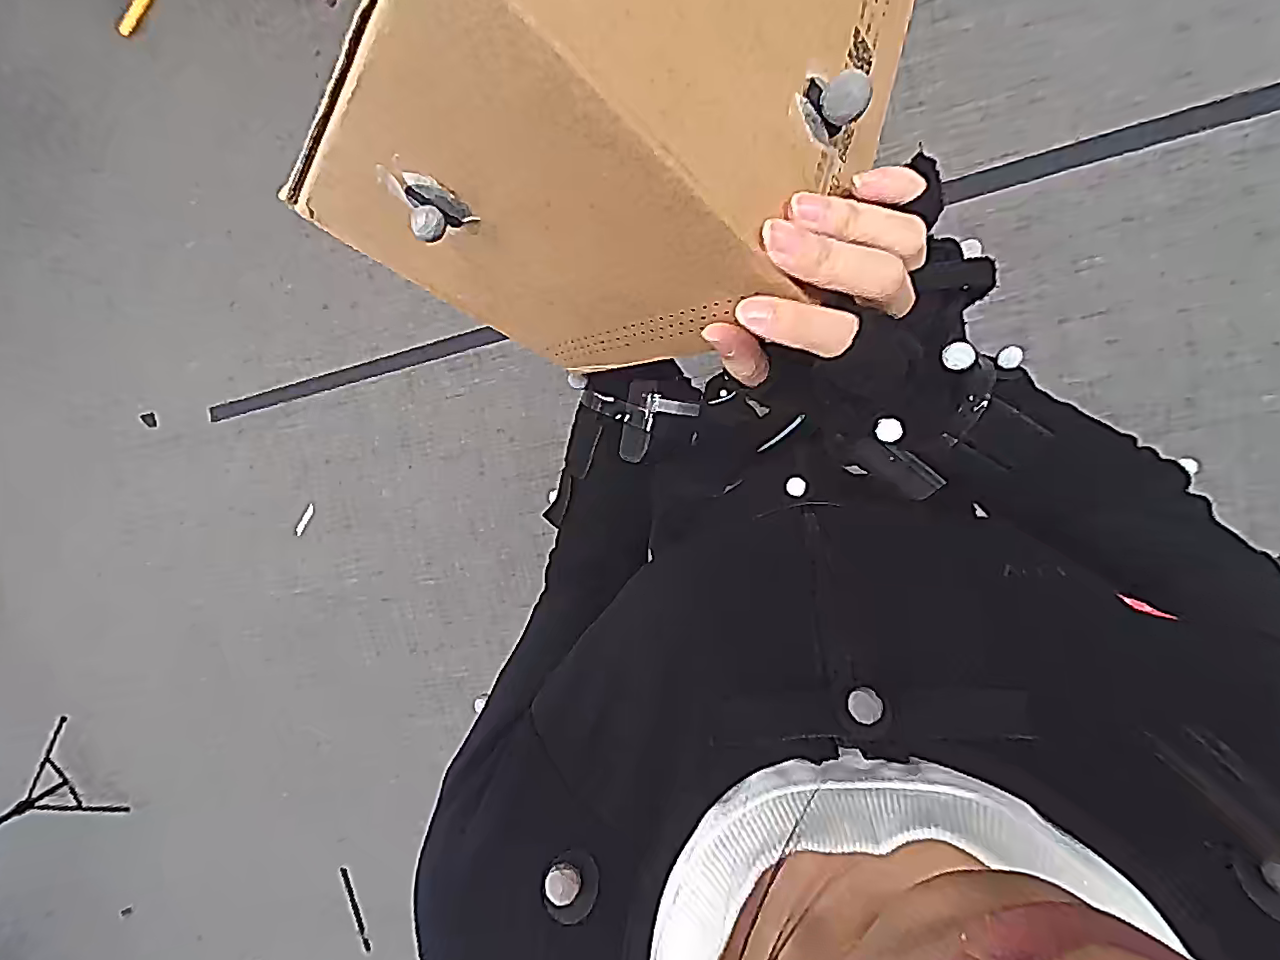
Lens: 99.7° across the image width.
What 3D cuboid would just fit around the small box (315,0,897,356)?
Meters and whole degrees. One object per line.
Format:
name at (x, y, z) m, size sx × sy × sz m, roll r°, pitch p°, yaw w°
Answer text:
small box at (-0.015, -0.172, 0.250) m, size 0.179 × 0.176 × 0.168 m, roll 4°, pitch 75°, yaw 49°
